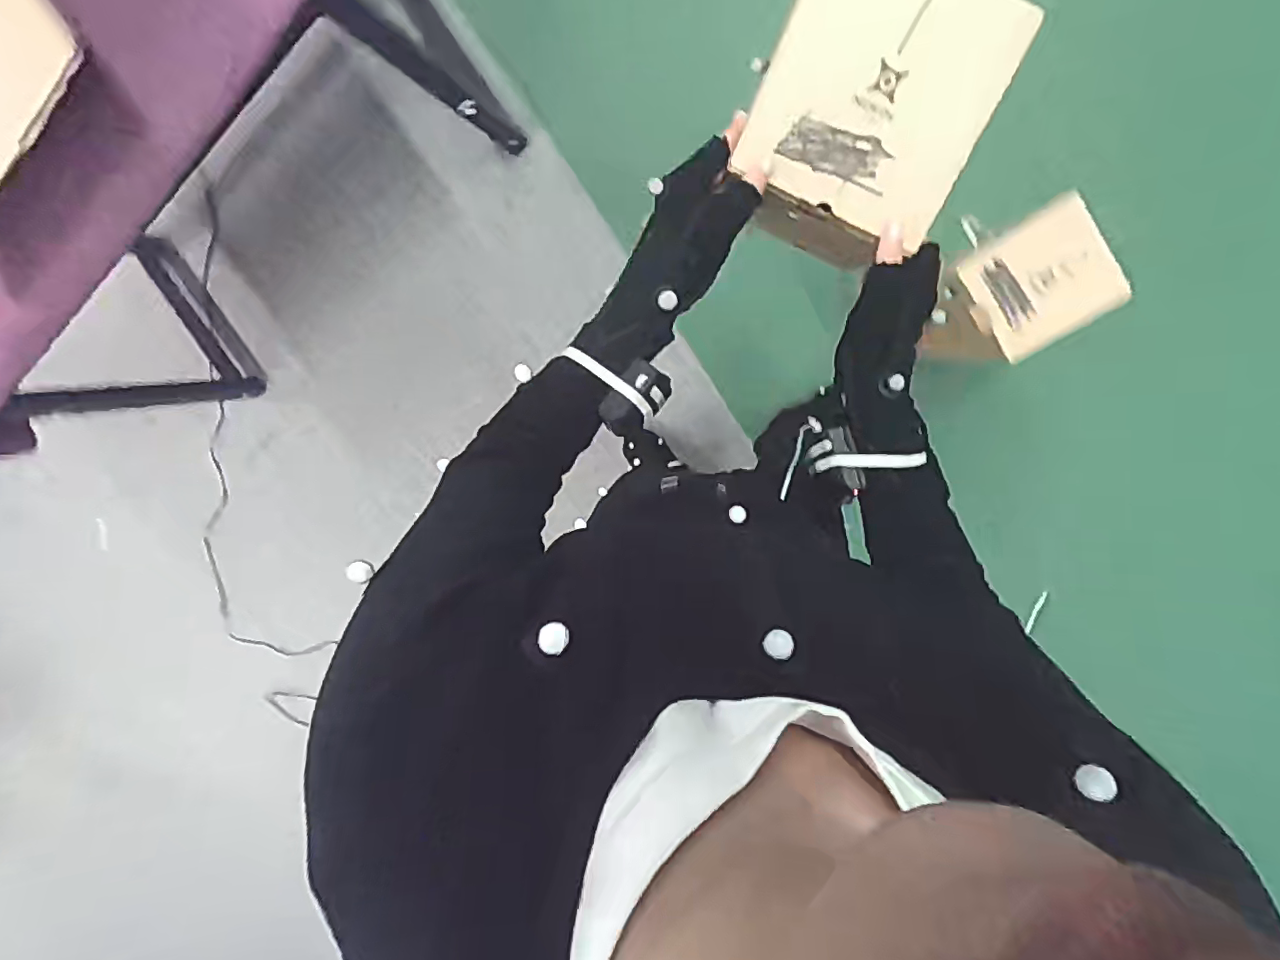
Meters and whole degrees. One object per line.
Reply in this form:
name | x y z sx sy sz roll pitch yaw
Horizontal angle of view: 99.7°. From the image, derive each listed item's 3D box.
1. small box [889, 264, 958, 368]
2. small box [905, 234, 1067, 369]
small box | 0.674 -0.362 1.176 0.179 0.176 0.168 -30 94 18
small box | 0.638 -0.328 1.021 0.179 0.176 0.168 -32 94 18
